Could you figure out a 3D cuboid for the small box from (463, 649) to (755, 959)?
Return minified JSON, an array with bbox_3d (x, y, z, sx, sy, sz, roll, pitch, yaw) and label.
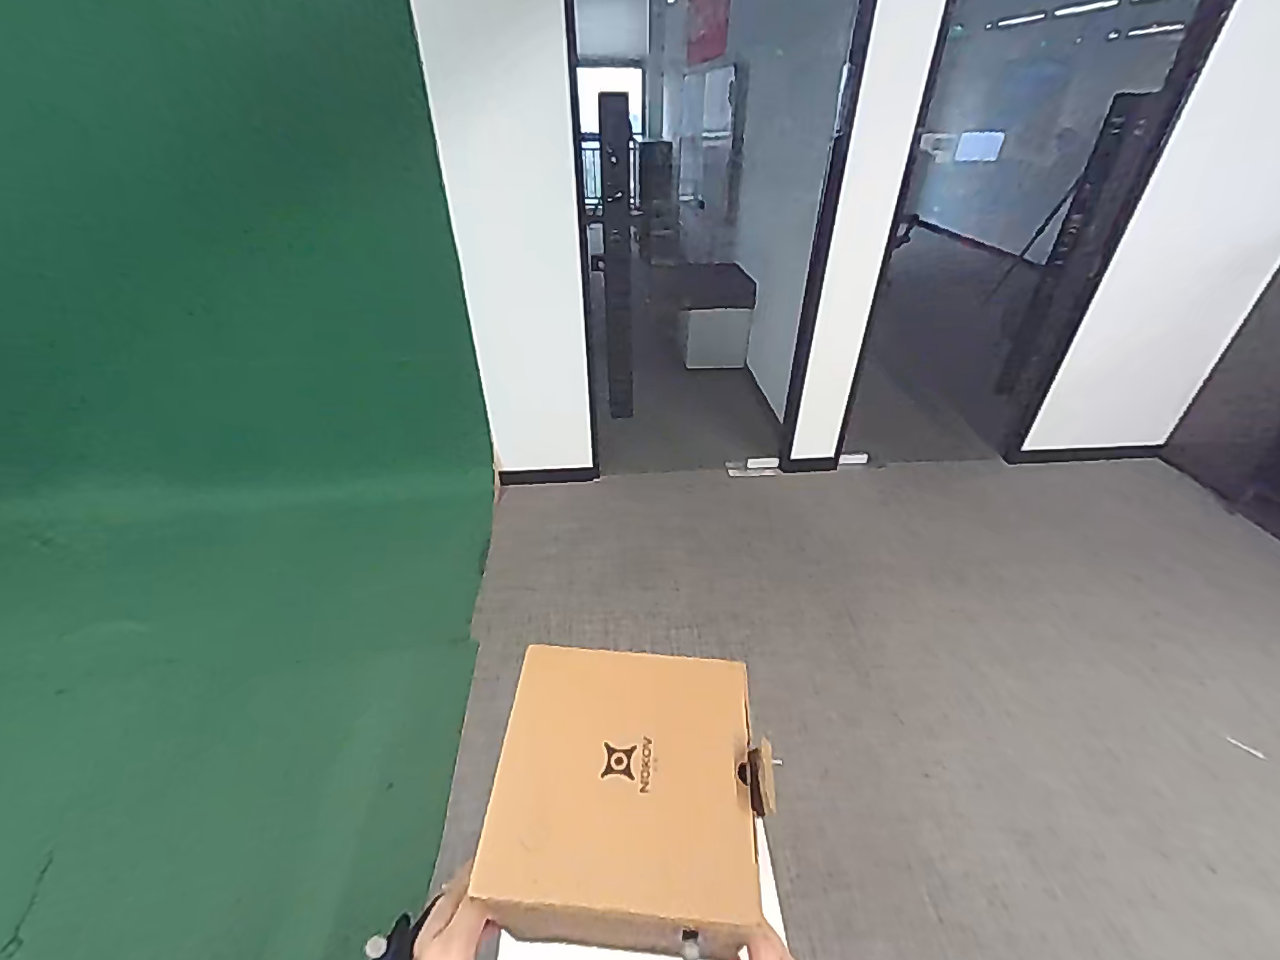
[{"bbox_3d":[-0.014,0.255,0.425,0.179,0.176,0.168,4,42,2],"label":"small box"}]
